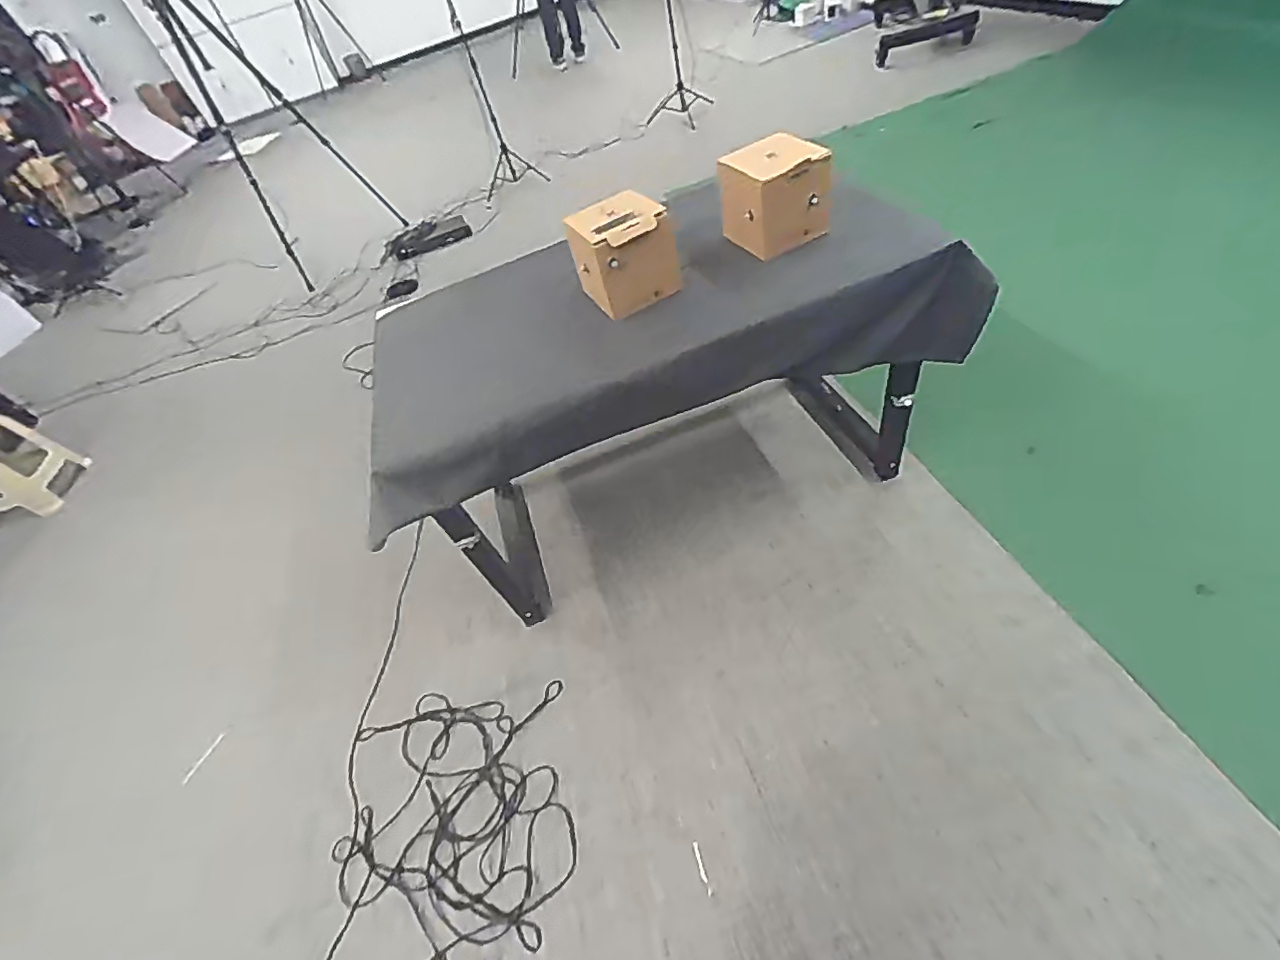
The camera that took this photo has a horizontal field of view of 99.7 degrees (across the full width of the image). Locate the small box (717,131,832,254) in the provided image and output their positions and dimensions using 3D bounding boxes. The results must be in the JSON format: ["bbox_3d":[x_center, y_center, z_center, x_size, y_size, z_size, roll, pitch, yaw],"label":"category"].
[{"bbox_3d":[0.285,-0.607,1.152,0.168,0.176,0.179,-27,48,-9],"label":"small box"}]
